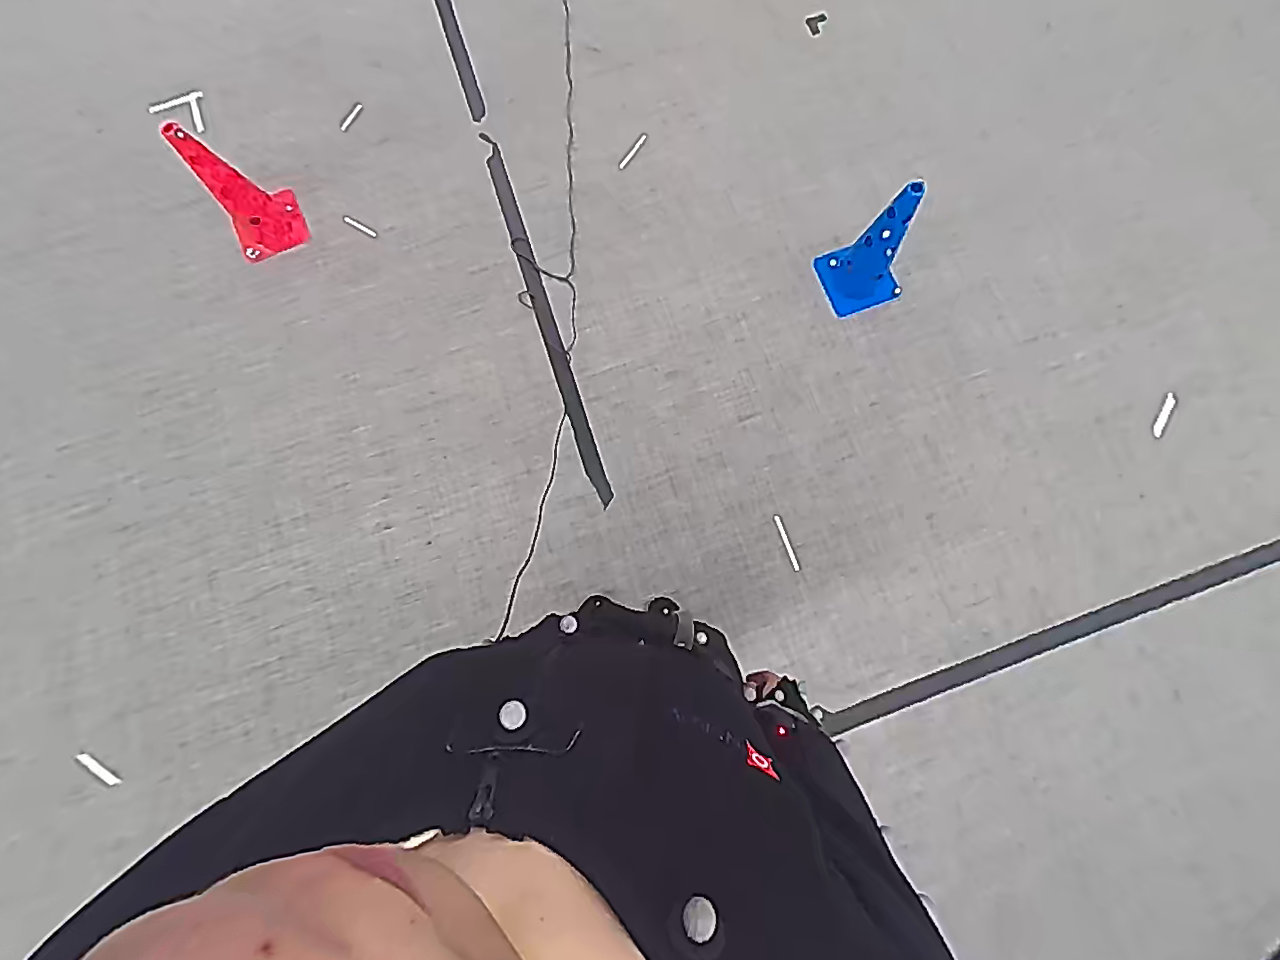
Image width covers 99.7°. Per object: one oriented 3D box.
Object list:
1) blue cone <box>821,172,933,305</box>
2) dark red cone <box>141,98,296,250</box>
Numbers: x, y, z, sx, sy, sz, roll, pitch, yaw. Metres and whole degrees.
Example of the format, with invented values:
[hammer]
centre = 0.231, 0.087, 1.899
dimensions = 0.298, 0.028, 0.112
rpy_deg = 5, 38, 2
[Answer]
[blue cone]
centre = 0.624, -0.629, 1.378
dimensions = 0.192, 0.380, 0.193
rpy_deg = -18, 79, -4
[dark red cone]
centre = -1.125, -0.817, 1.429
dimensions = 0.201, 0.394, 0.202
rpy_deg = -26, 79, -5
